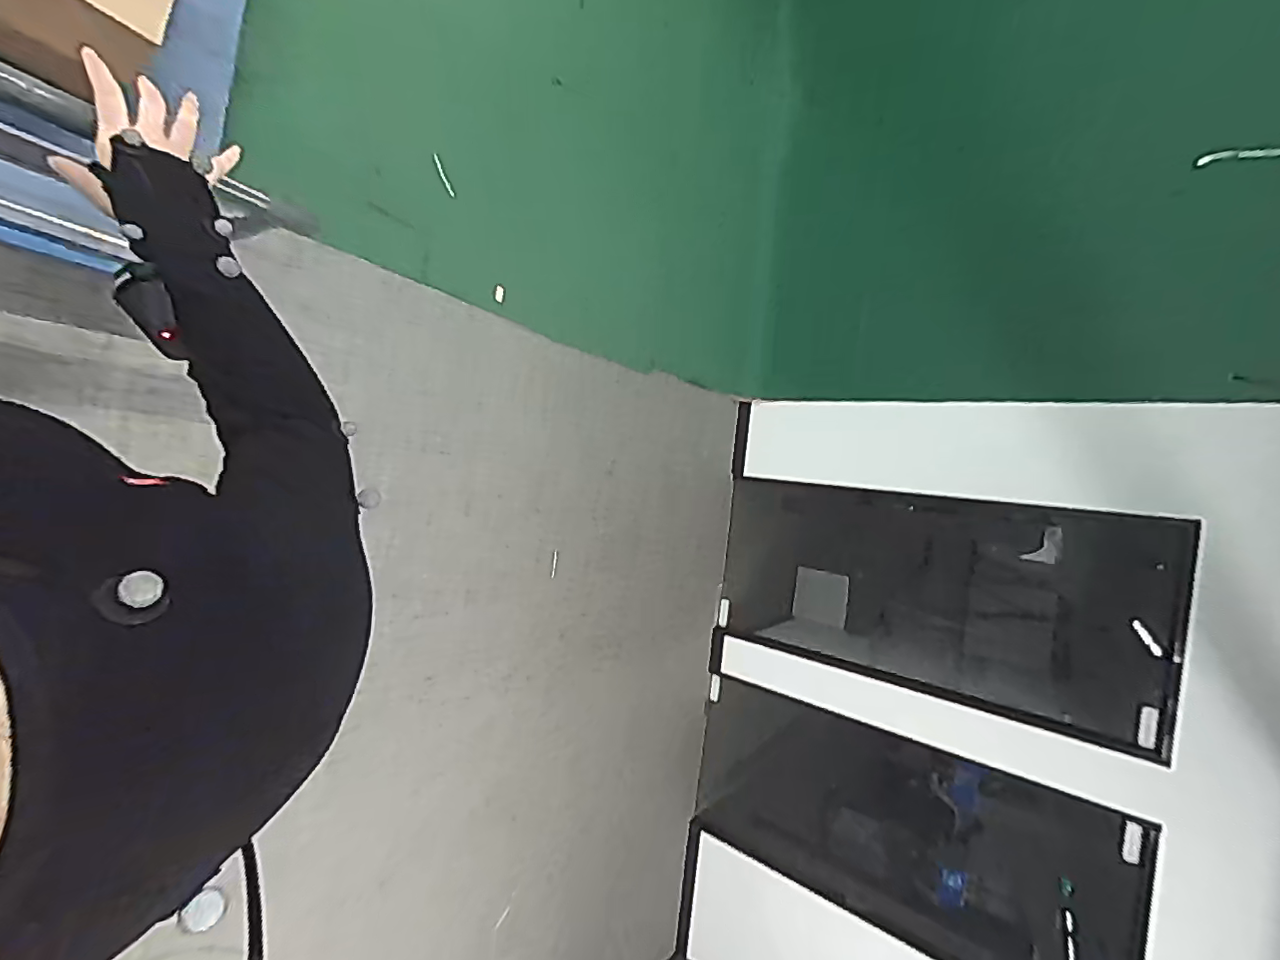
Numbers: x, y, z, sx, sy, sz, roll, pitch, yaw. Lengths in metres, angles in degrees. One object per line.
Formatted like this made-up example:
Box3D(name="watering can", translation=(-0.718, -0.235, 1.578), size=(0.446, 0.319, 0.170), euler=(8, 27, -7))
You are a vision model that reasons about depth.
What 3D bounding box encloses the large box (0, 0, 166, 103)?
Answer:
Box3D(name="large box", translation=(-0.917, -0.827, 0.723), size=(0.408, 0.320, 0.320), euler=(15, 83, -54))
